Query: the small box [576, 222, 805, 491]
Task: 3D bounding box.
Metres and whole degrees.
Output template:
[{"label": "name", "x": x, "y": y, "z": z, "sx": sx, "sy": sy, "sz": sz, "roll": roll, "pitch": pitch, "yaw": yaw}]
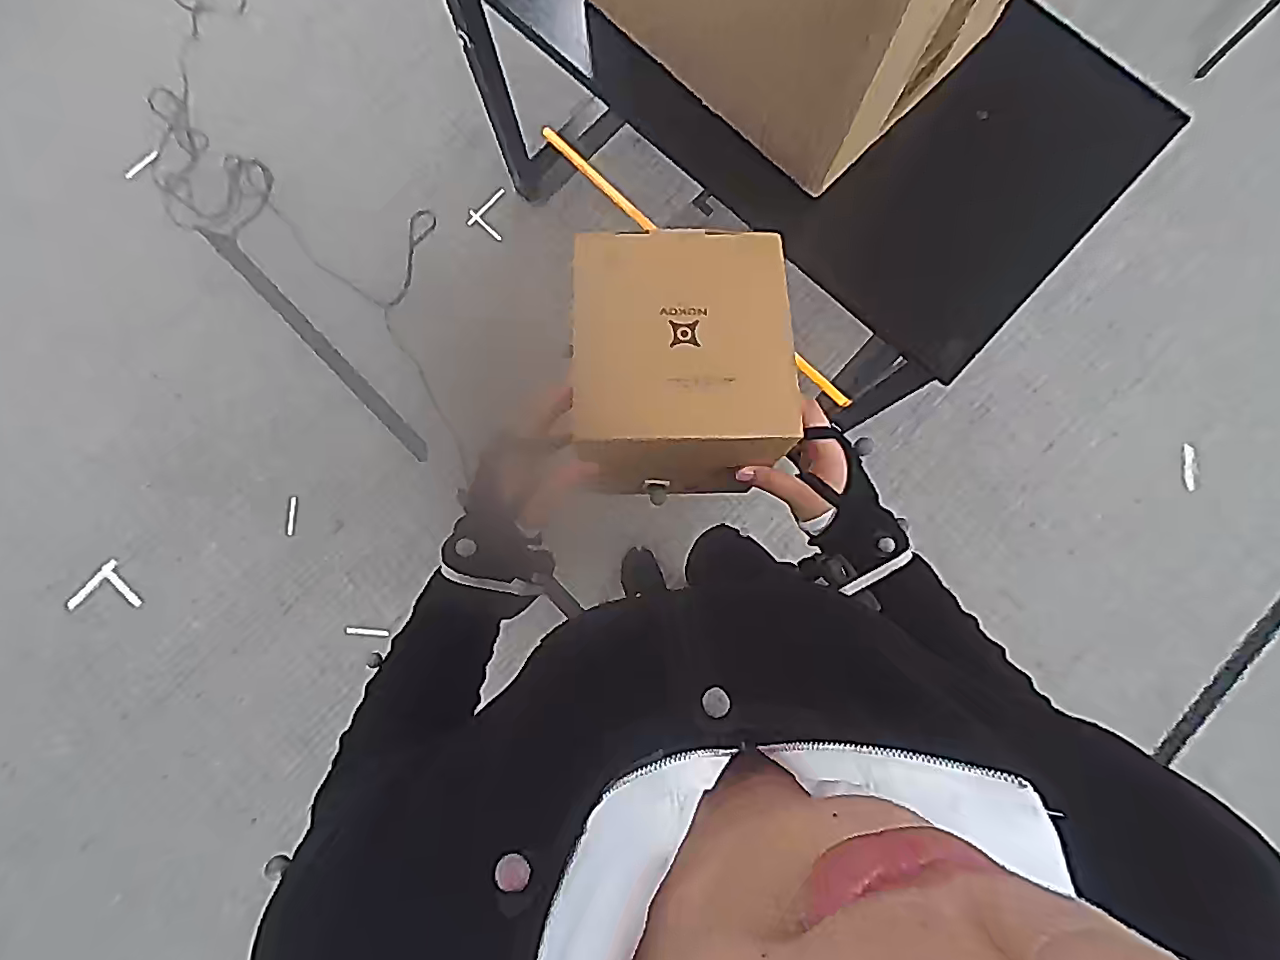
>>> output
[{"label": "small box", "x": 0.030, "y": -0.095, "z": 0.478, "sx": 0.168, "sy": 0.176, "sz": 0.179, "roll": -1, "pitch": 75, "yaw": -3}]
